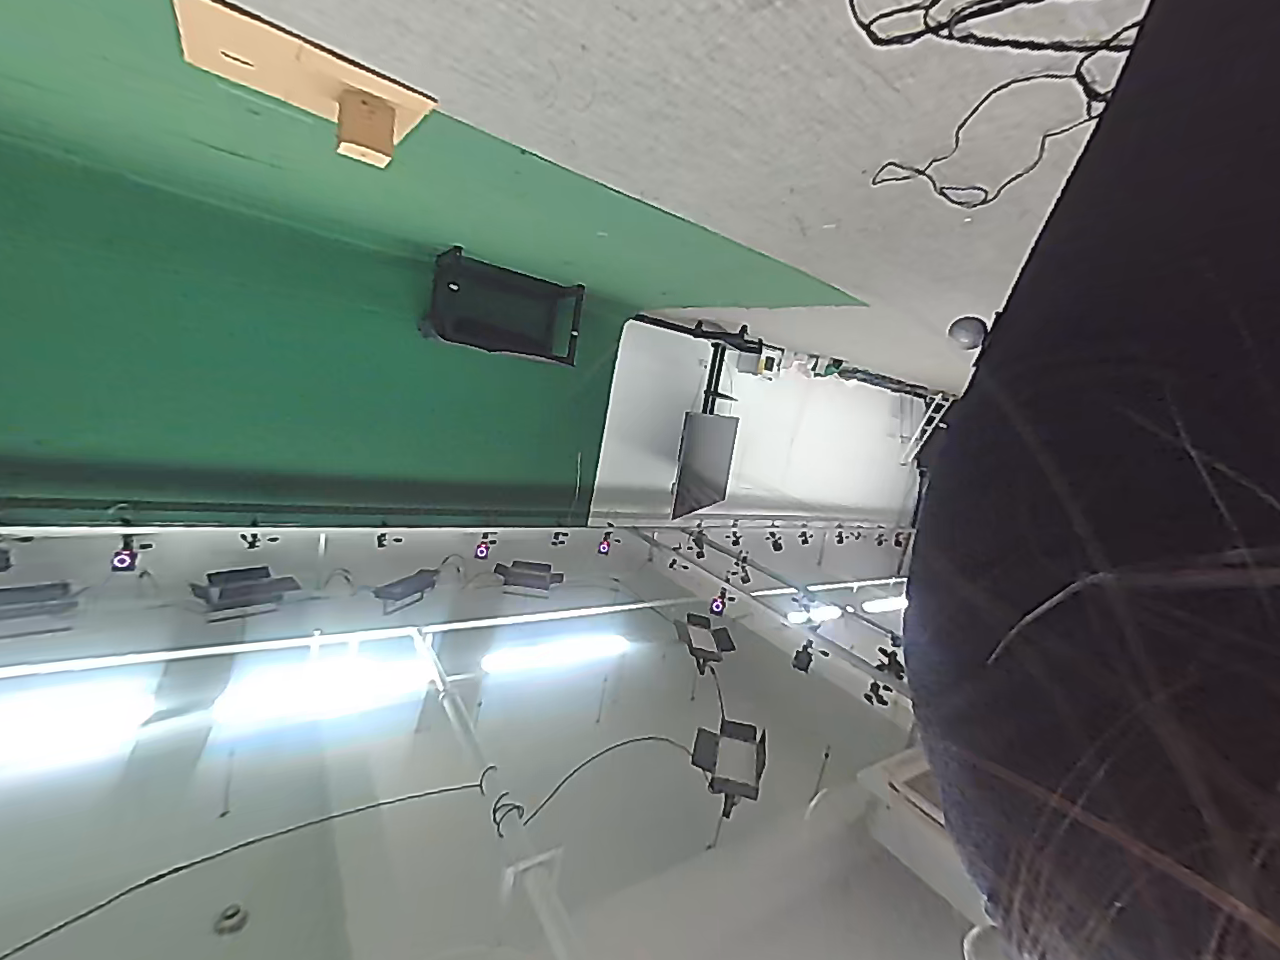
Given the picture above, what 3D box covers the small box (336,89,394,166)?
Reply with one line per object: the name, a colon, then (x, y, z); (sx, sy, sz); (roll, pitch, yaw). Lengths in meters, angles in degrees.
small box: (-1.015, -1.297, 1.996); (0.168, 0.176, 0.179); (1, -167, -36)
